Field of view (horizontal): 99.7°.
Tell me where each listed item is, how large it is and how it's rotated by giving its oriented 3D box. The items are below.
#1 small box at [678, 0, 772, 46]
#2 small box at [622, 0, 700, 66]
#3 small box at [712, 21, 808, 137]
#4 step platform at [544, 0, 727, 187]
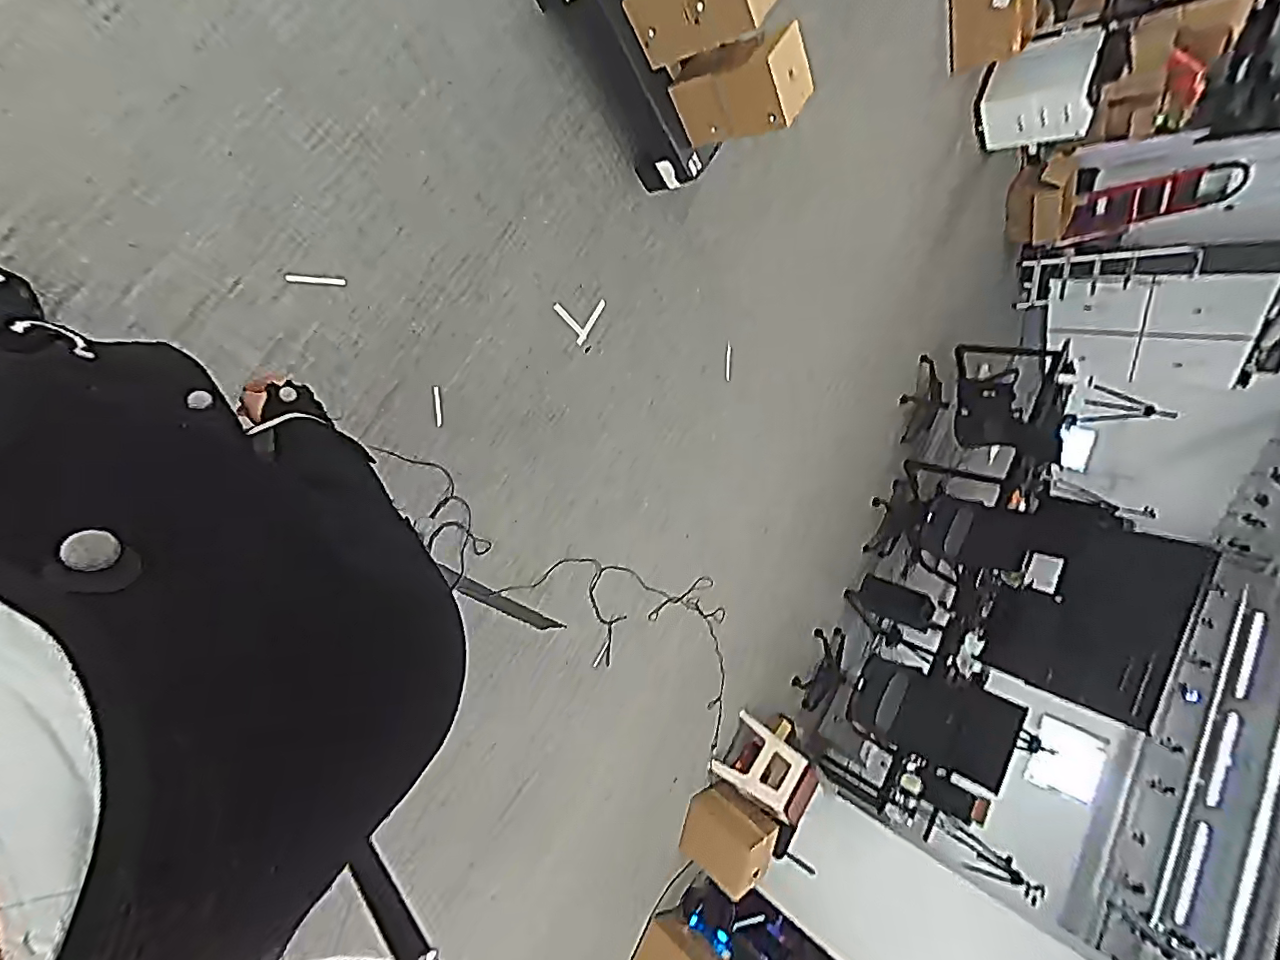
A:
[{"bbox_3d":[0.203,-1.177,1.271,0.168,0.176,0.179,45,70,-45],"label":"small box"},{"bbox_3d":[0.085,-1.211,1.380,0.179,0.176,0.168,-59,137,-14],"label":"small box"},{"bbox_3d":[0.318,-1.057,1.441,0.168,0.176,0.179,-58,137,-15],"label":"small box"},{"bbox_3d":[0.012,-1.226,1.558,0.684,0.204,0.286,43,71,-45],"label":"step platform"}]
